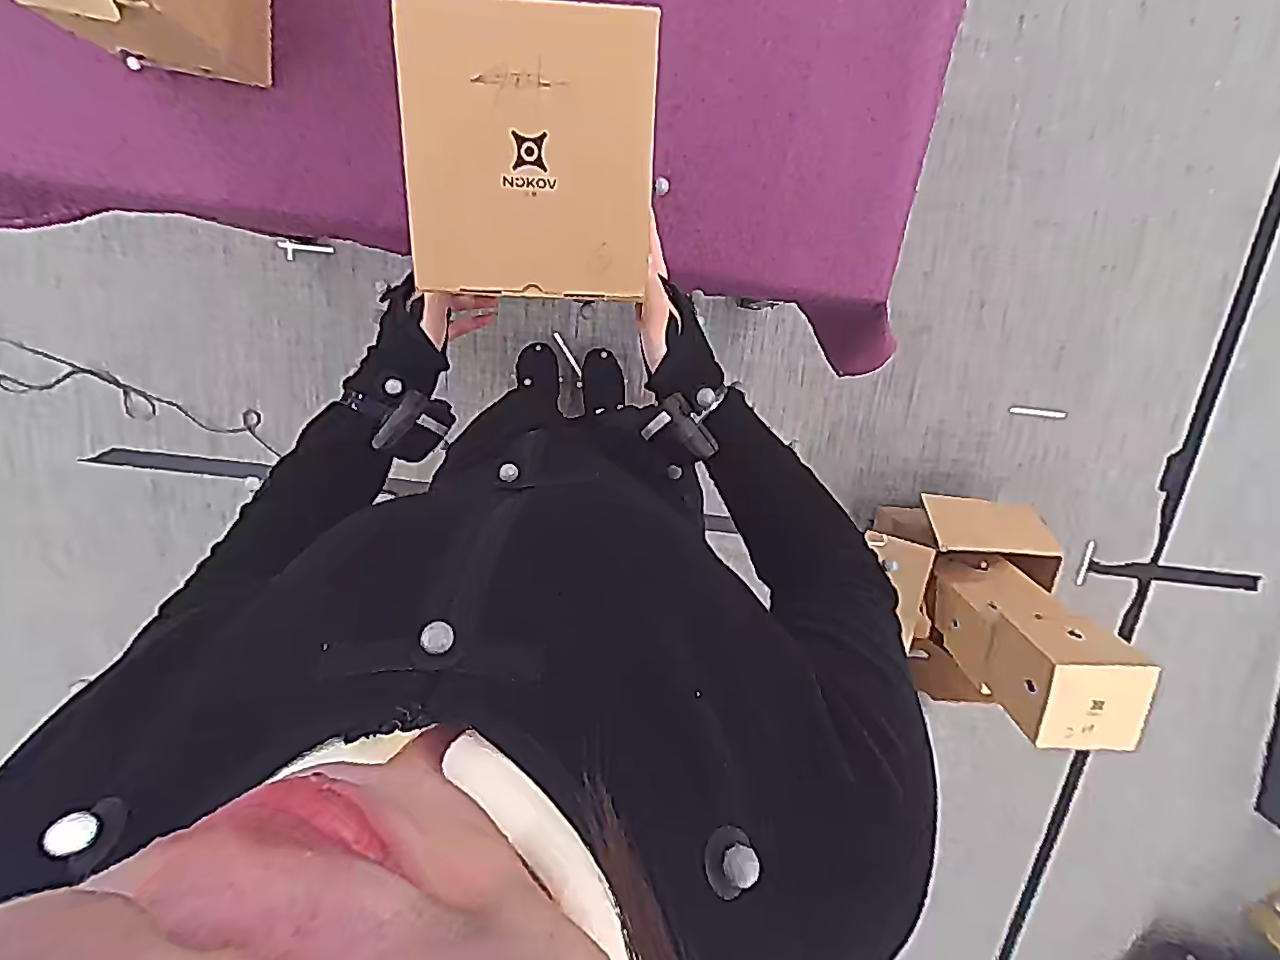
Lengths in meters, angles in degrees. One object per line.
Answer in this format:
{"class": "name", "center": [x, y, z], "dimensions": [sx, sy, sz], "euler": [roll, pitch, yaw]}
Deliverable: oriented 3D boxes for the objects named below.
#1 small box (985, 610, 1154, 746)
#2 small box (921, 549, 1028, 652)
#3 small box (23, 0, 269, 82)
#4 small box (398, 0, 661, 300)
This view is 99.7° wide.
{"class": "small box", "center": [0.771, 0.356, 0.994], "dimensions": [0.168, 0.176, 0.179], "euler": [0, 109, 4]}
{"class": "small box", "center": [0.806, 0.284, 1.315], "dimensions": [0.168, 0.176, 0.179], "euler": [-14, 108, 7]}
{"class": "small box", "center": [-0.492, -0.527, 0.522], "dimensions": [0.168, 0.176, 0.179], "euler": [9, 104, -3]}
{"class": "small box", "center": [-0.076, -0.242, 0.436], "dimensions": [0.168, 0.176, 0.179], "euler": [2, 108, -4]}
